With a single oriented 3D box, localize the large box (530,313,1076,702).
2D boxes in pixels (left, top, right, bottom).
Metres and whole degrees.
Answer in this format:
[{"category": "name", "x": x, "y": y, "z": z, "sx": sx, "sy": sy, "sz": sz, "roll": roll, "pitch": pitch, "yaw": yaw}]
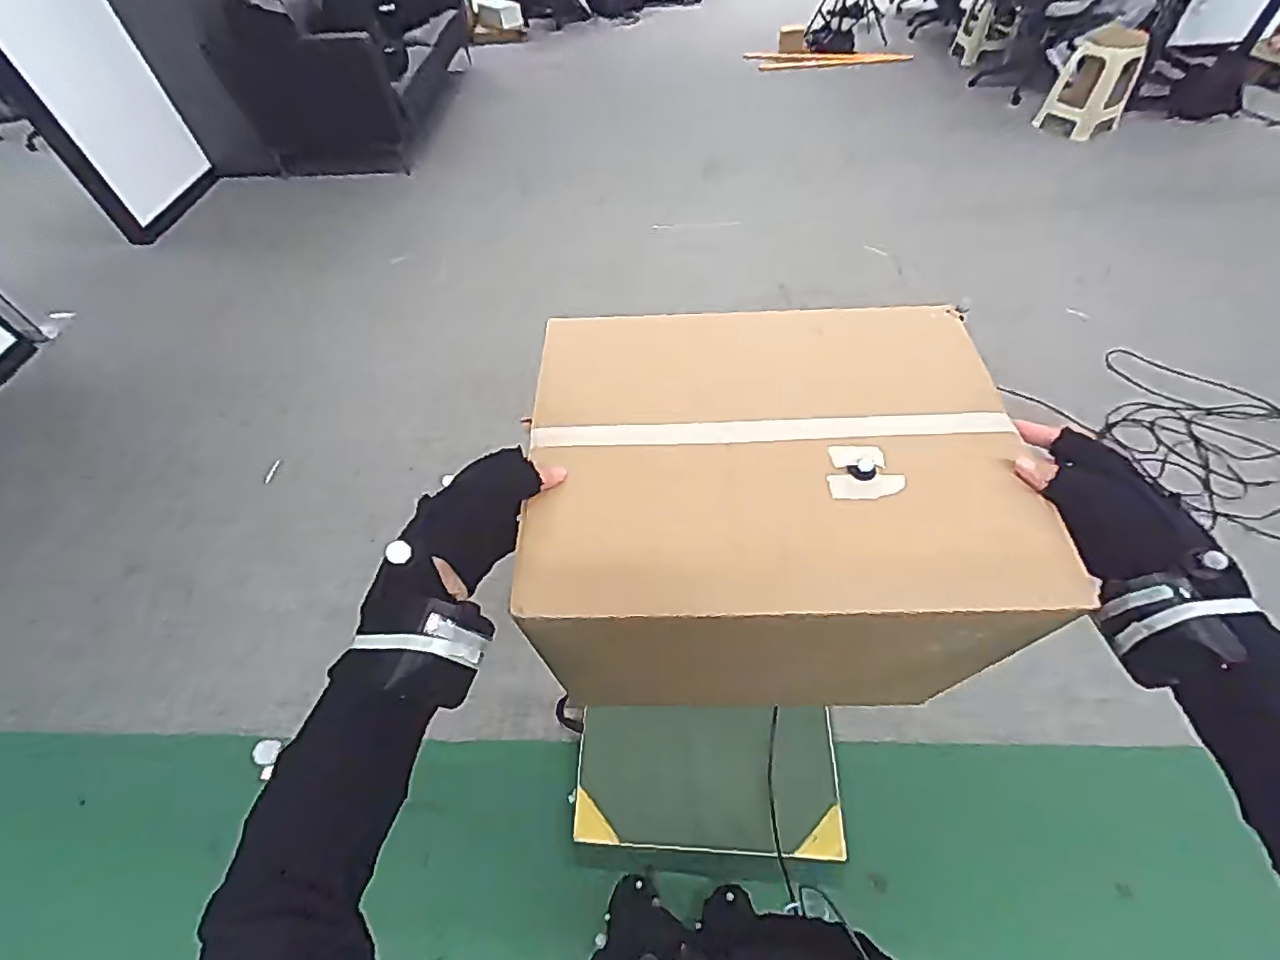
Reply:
[{"category": "large box", "x": 0.116, "y": 0.045, "z": 0.593, "sx": 0.408, "sy": 0.320, "sz": 0.320, "roll": -1, "pitch": 57, "yaw": 1}]
